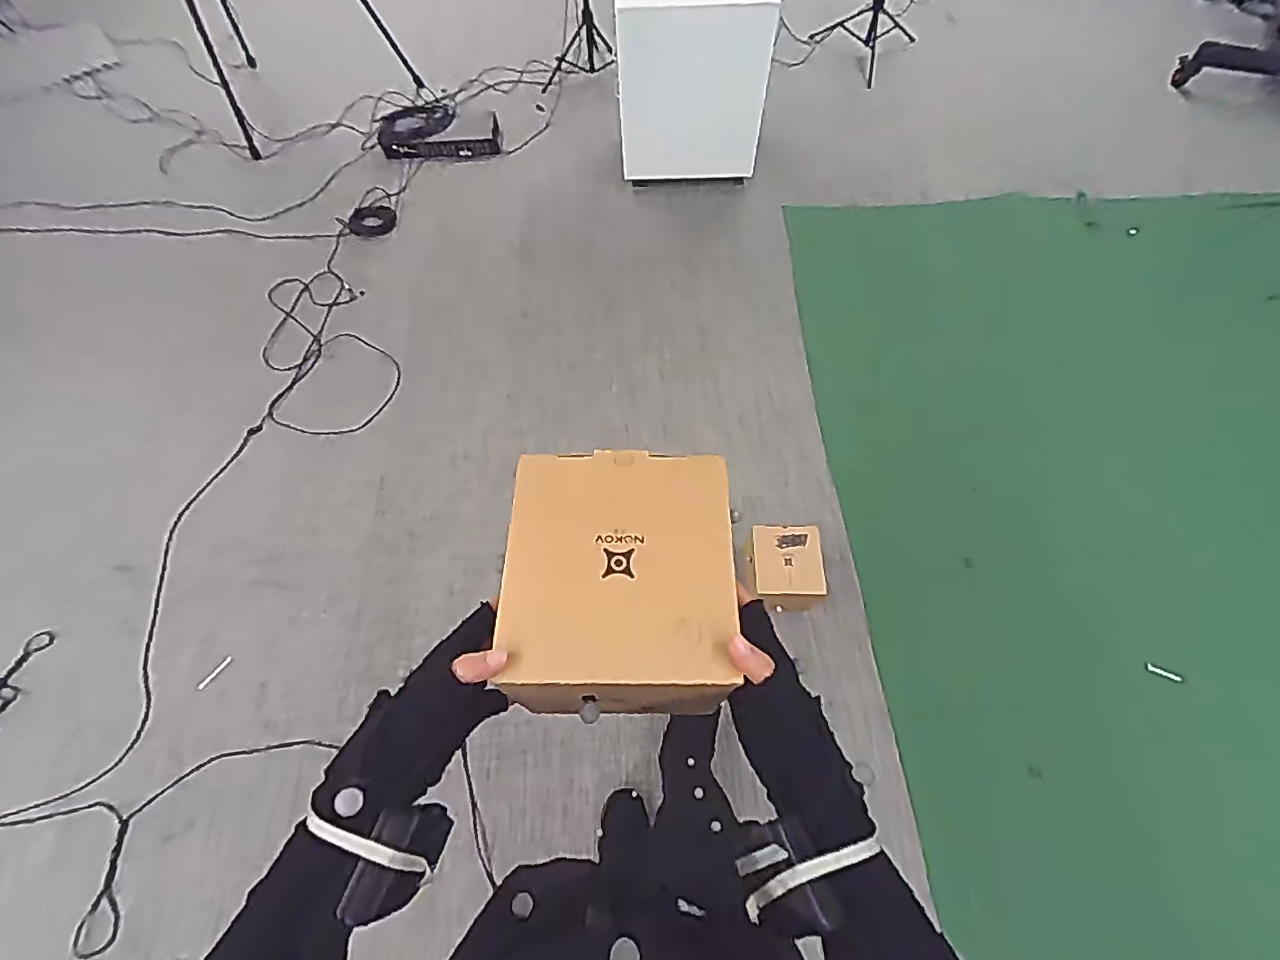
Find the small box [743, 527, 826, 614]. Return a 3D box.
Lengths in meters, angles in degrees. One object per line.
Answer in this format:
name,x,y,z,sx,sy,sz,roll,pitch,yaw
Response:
small box,0.360,0.233,1.379,0.168,0.176,0.179,0,64,2

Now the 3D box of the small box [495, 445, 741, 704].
small box,-0.012,0.088,0.461,0.168,0.176,0.179,0,59,0
